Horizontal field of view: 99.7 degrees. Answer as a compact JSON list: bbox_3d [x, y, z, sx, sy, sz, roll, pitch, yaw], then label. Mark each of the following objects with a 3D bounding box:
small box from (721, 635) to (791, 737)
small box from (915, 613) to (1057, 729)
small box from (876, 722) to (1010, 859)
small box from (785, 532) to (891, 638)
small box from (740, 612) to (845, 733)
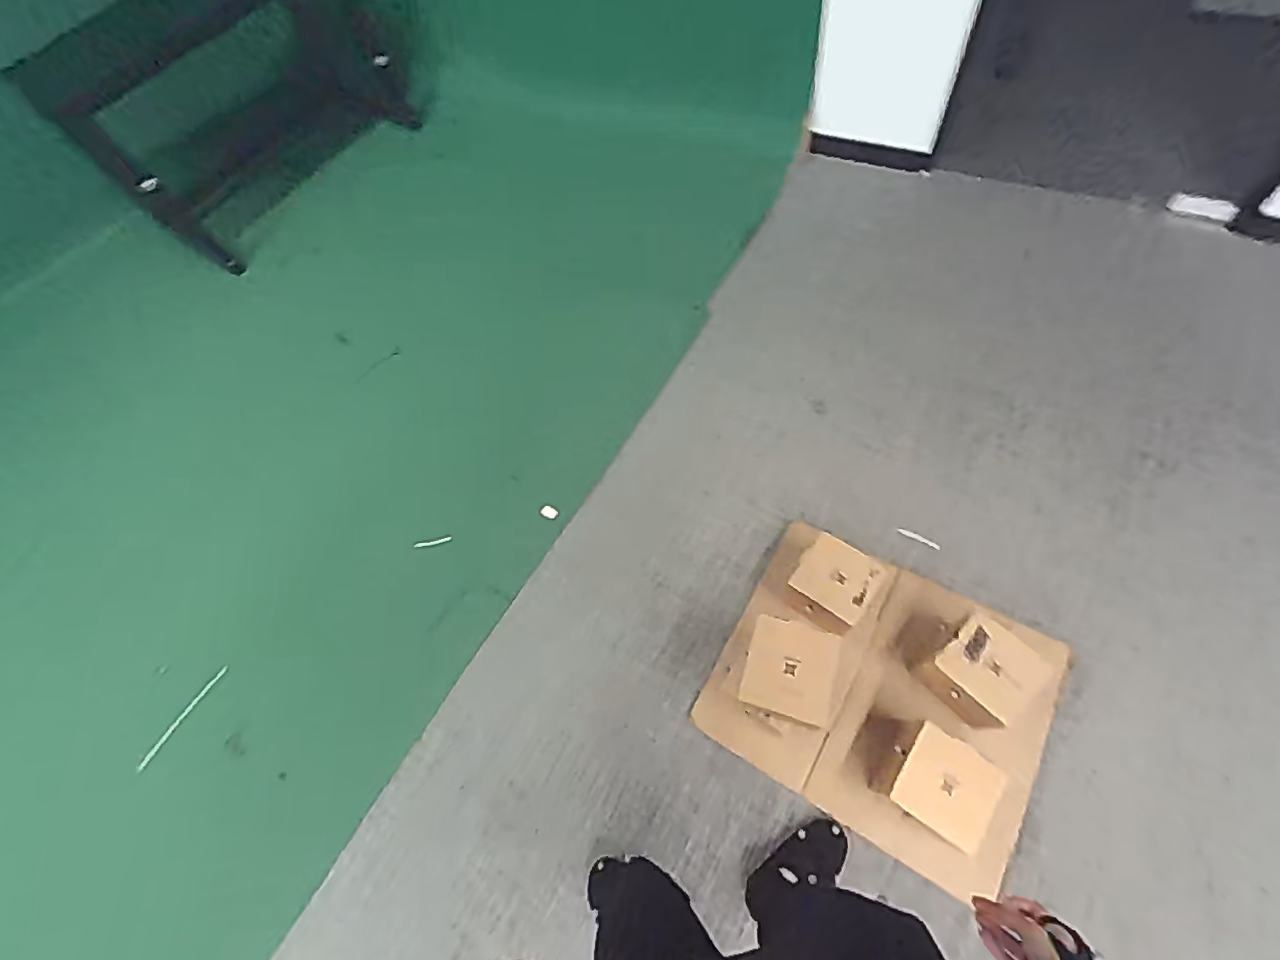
[{"bbox_3d":[0.303,0.468,1.246,0.168,0.176,0.179,32,72,22],"label":"small box"},{"bbox_3d":[0.746,0.426,1.190,0.168,0.176,0.179,-41,66,-12],"label":"small box"},{"bbox_3d":[0.609,0.629,1.111,0.168,0.176,0.179,31,71,22],"label":"small box"},{"bbox_3d":[0.475,0.264,1.323,0.179,0.176,0.168,34,73,23],"label":"small box"},{"bbox_3d":[0.303,0.394,1.099,0.168,0.176,0.179,14,67,17],"label":"small box"}]
